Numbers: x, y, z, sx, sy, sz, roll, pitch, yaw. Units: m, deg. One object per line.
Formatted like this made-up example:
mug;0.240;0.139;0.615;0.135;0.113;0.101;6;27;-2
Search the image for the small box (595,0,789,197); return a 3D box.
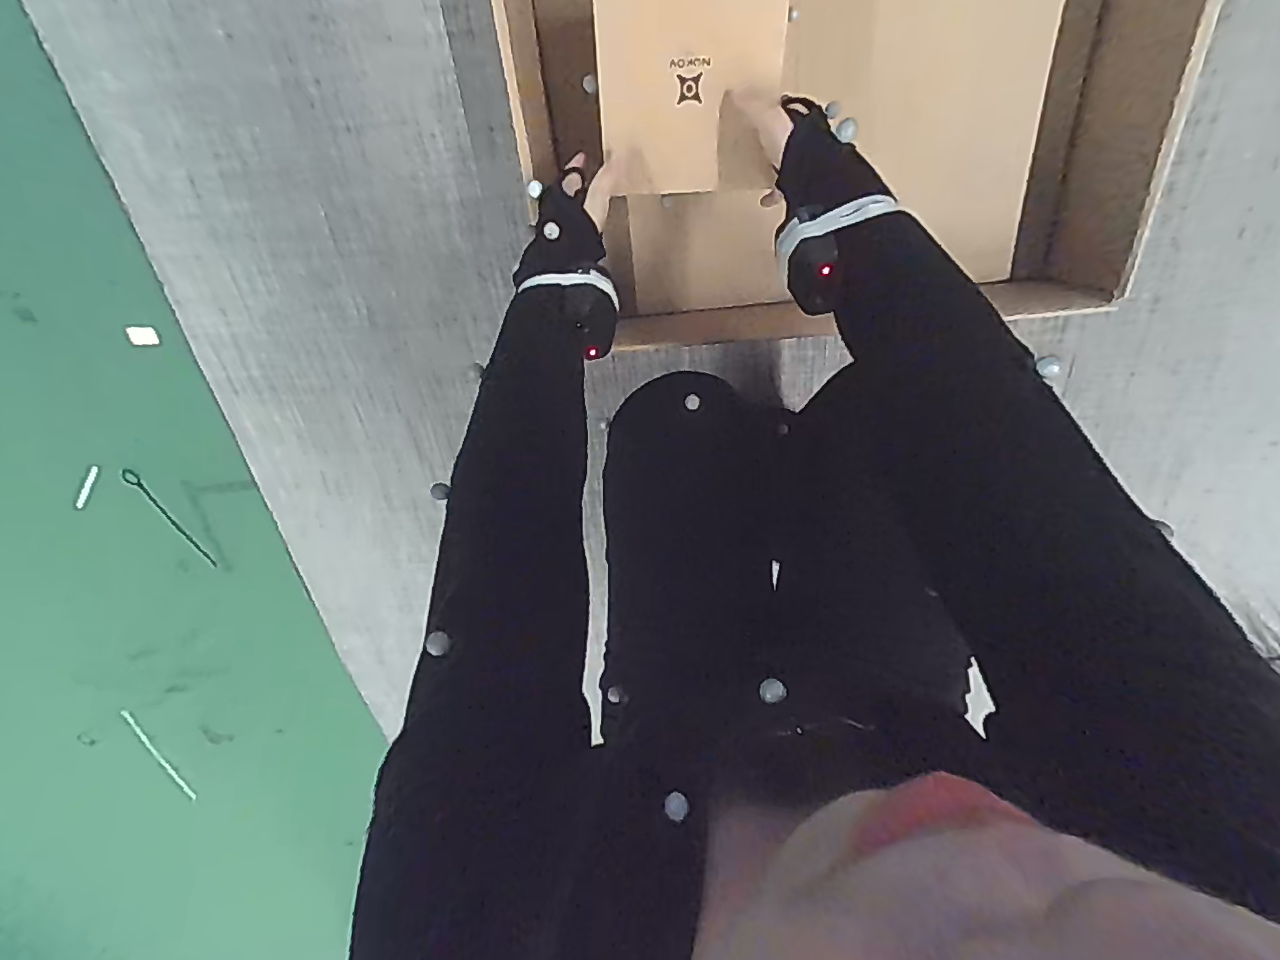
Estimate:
small box;0.052;-0.397;0.550;0.168;0.176;0.179;-1;121;5
